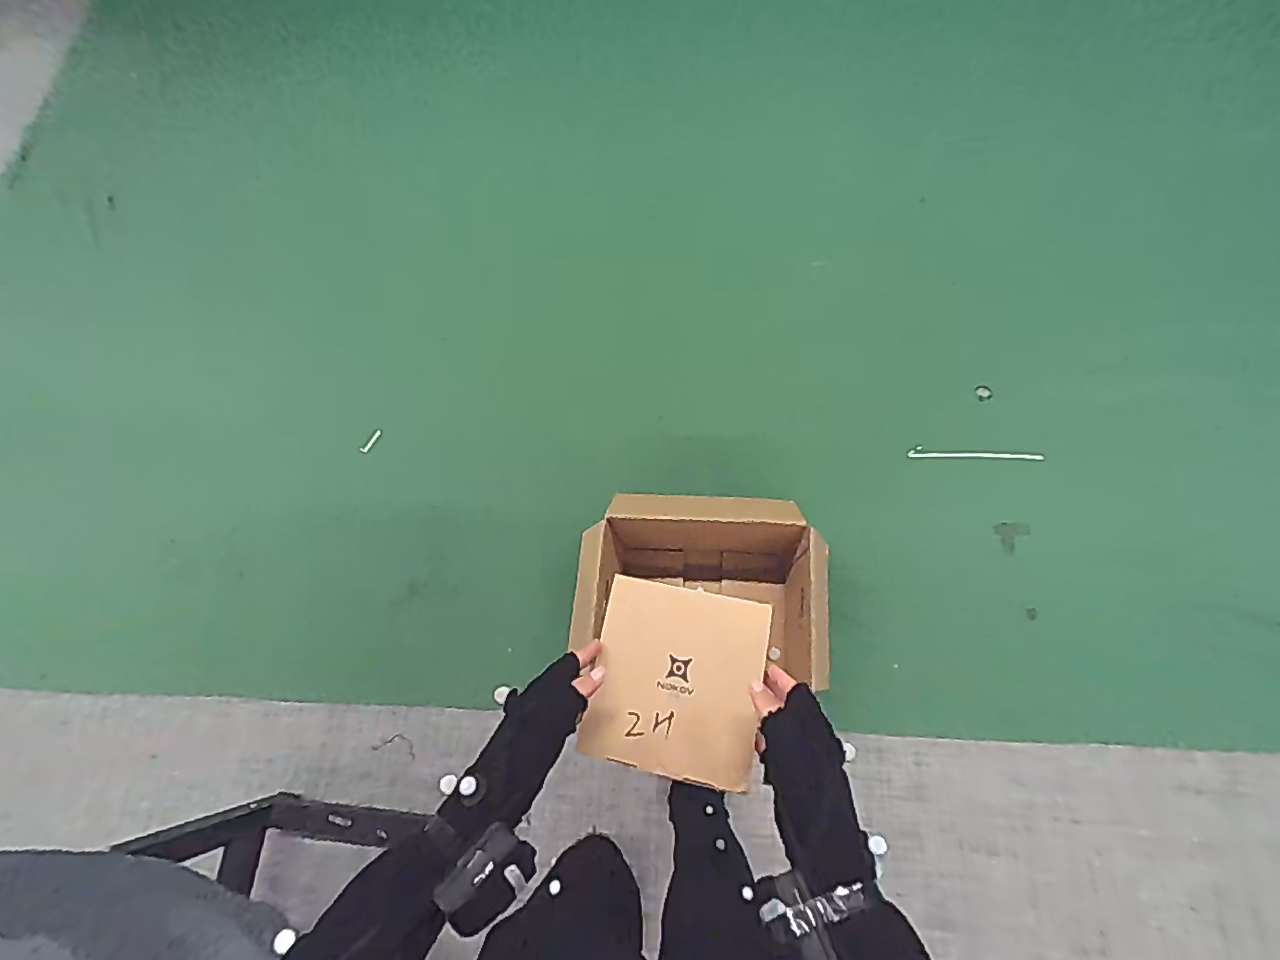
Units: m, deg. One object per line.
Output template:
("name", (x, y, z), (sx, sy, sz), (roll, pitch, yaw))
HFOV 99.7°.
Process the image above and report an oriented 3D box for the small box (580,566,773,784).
("small box", (0.046, 0.211, 0.607), (0.168, 0.176, 0.179), (9, 72, 11))
